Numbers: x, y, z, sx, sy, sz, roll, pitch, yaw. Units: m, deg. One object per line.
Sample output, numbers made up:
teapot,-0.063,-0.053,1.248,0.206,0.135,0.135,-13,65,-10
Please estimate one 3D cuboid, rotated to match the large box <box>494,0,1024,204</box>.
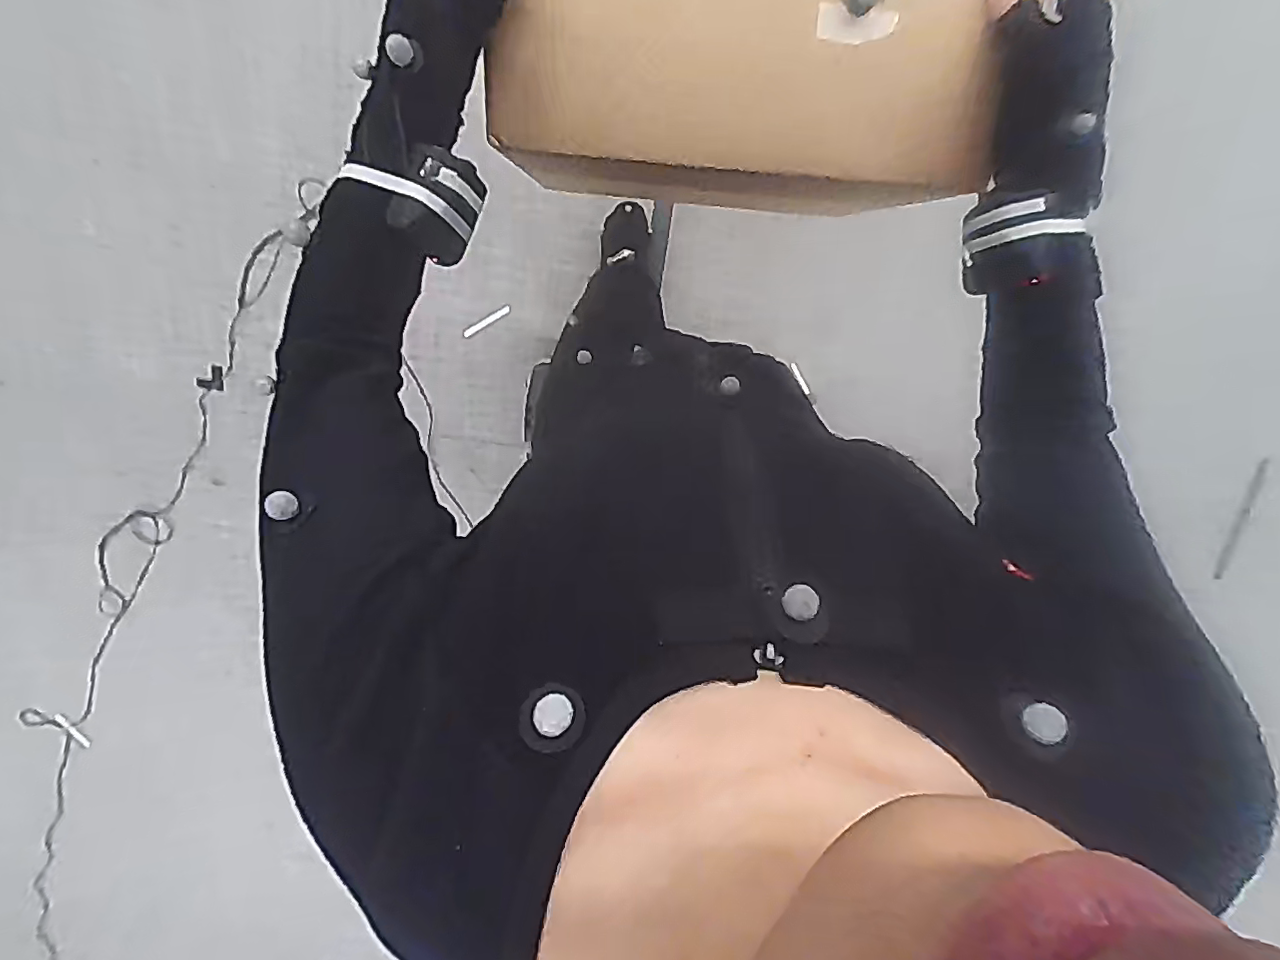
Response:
large box,0.086,-0.460,0.518,0.408,0.320,0.320,3,113,-4
